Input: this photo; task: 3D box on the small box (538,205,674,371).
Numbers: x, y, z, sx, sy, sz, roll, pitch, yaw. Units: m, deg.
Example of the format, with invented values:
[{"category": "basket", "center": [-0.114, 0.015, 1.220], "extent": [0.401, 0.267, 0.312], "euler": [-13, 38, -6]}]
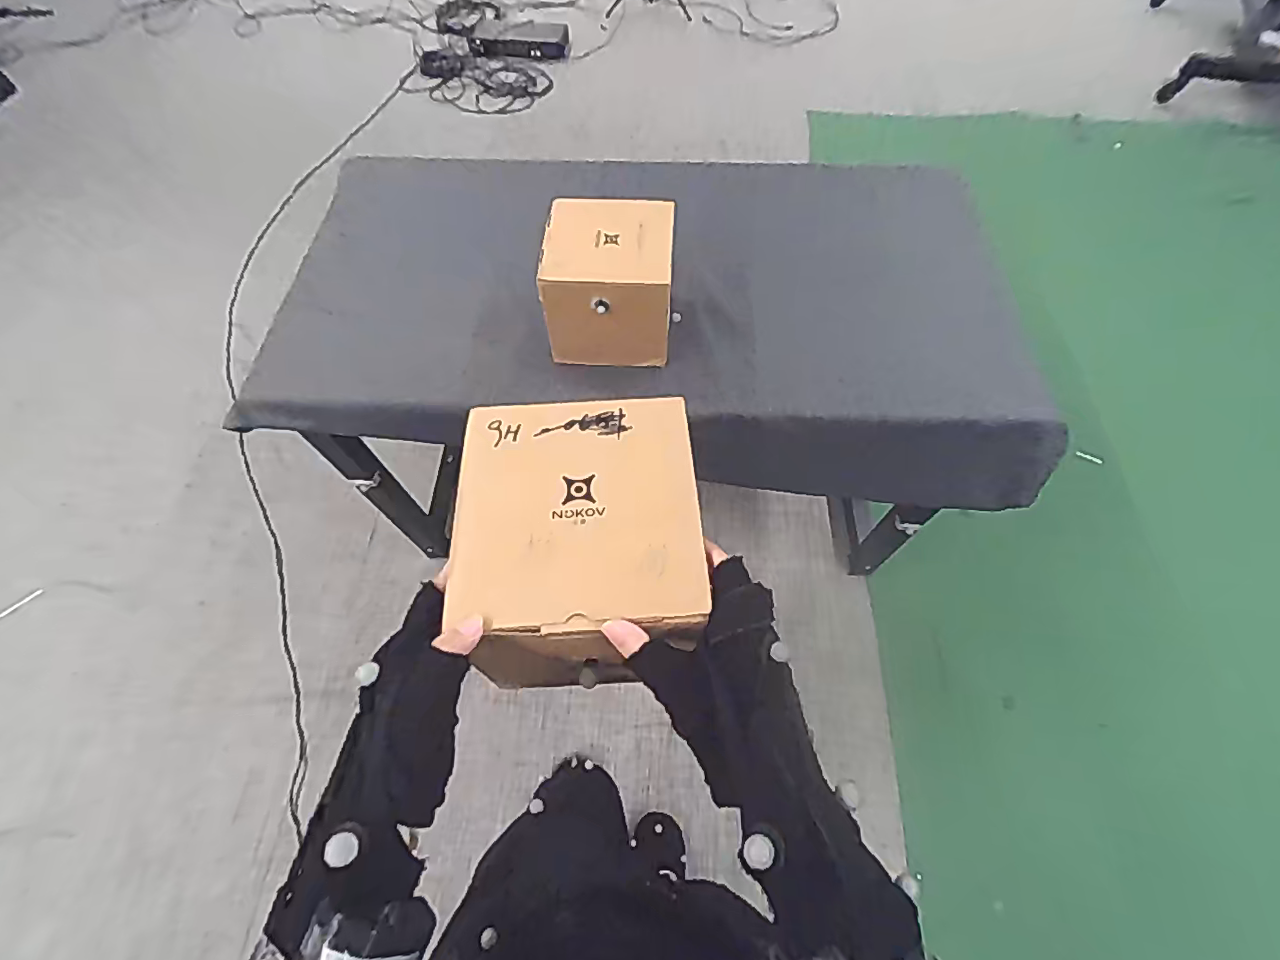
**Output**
[{"category": "small box", "center": [-0.042, -0.279, 0.803], "extent": [0.179, 0.176, 0.168], "euler": [3, 62, 1]}]

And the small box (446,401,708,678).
[{"category": "small box", "center": [-0.042, 0.058, 0.440], "extent": [0.168, 0.176, 0.179], "euler": [-3, 60, -2]}]
